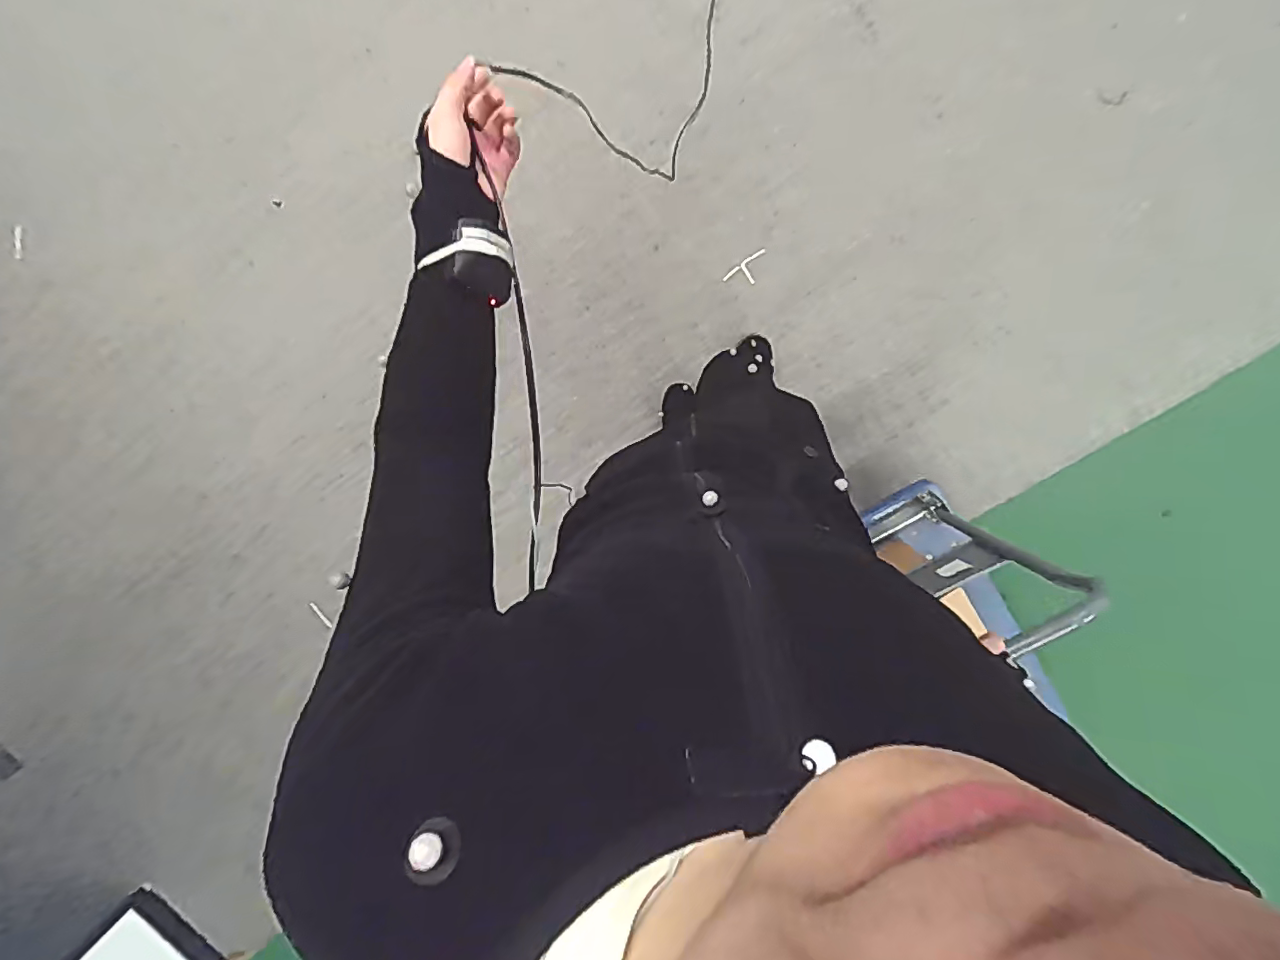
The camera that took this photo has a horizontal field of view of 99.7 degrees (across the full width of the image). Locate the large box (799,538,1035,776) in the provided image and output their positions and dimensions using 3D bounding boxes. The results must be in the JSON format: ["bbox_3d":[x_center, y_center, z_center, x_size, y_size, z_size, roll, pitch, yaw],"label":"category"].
[{"bbox_3d":[0.663,0.422,1.357,0.320,0.320,0.408,-32,100,10],"label":"large box"}]
